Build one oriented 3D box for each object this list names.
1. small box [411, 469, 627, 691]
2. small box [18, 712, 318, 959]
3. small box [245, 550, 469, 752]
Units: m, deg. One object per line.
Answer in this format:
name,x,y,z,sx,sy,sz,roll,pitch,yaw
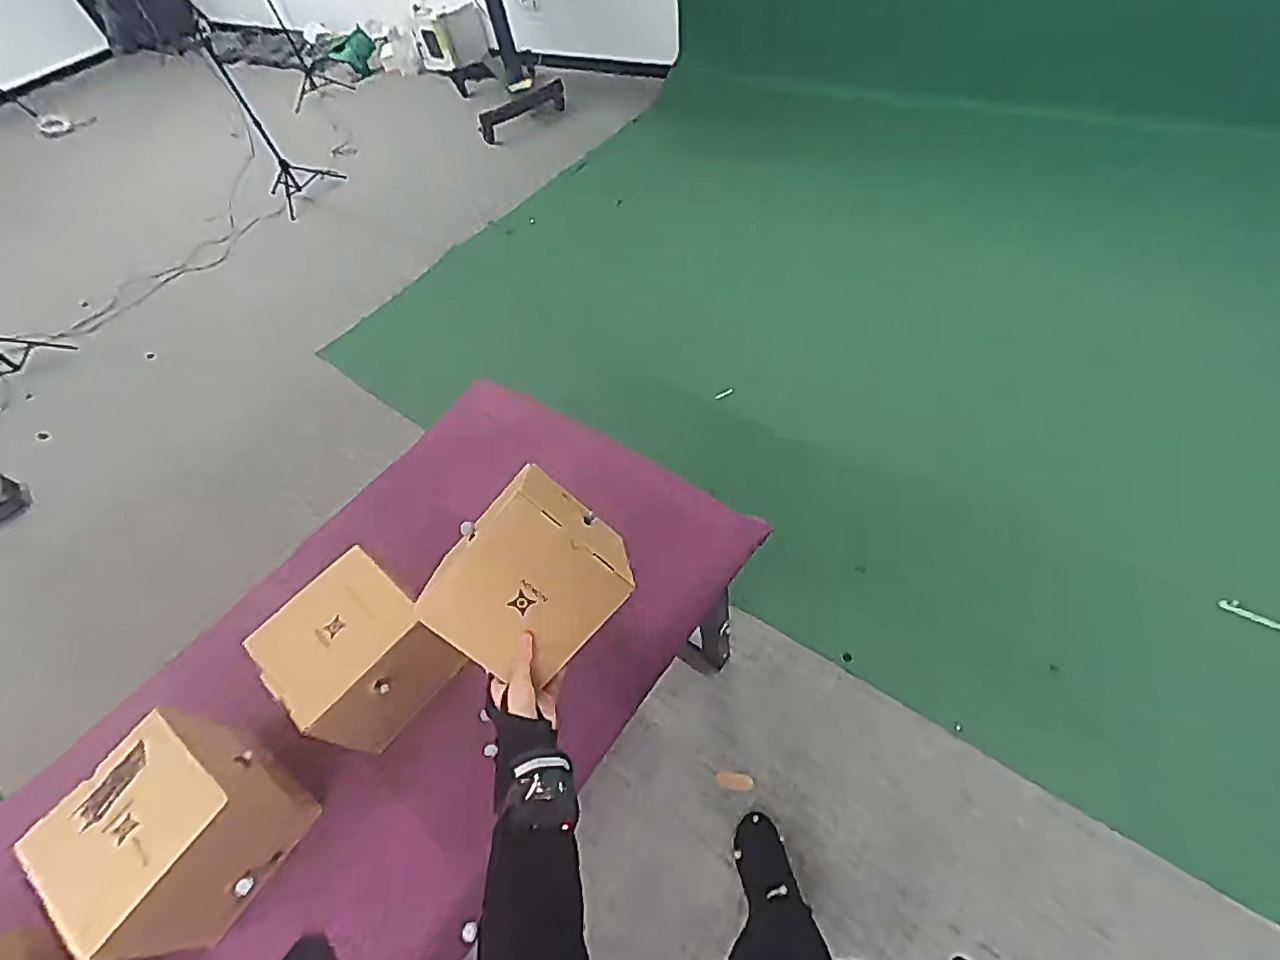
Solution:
small box,-0.136,0.108,0.659,0.168,0.176,0.179,42,91,-11
small box,-0.534,0.411,0.636,0.179,0.176,0.168,25,63,24
small box,-0.369,0.236,0.734,0.168,0.176,0.179,33,66,28
